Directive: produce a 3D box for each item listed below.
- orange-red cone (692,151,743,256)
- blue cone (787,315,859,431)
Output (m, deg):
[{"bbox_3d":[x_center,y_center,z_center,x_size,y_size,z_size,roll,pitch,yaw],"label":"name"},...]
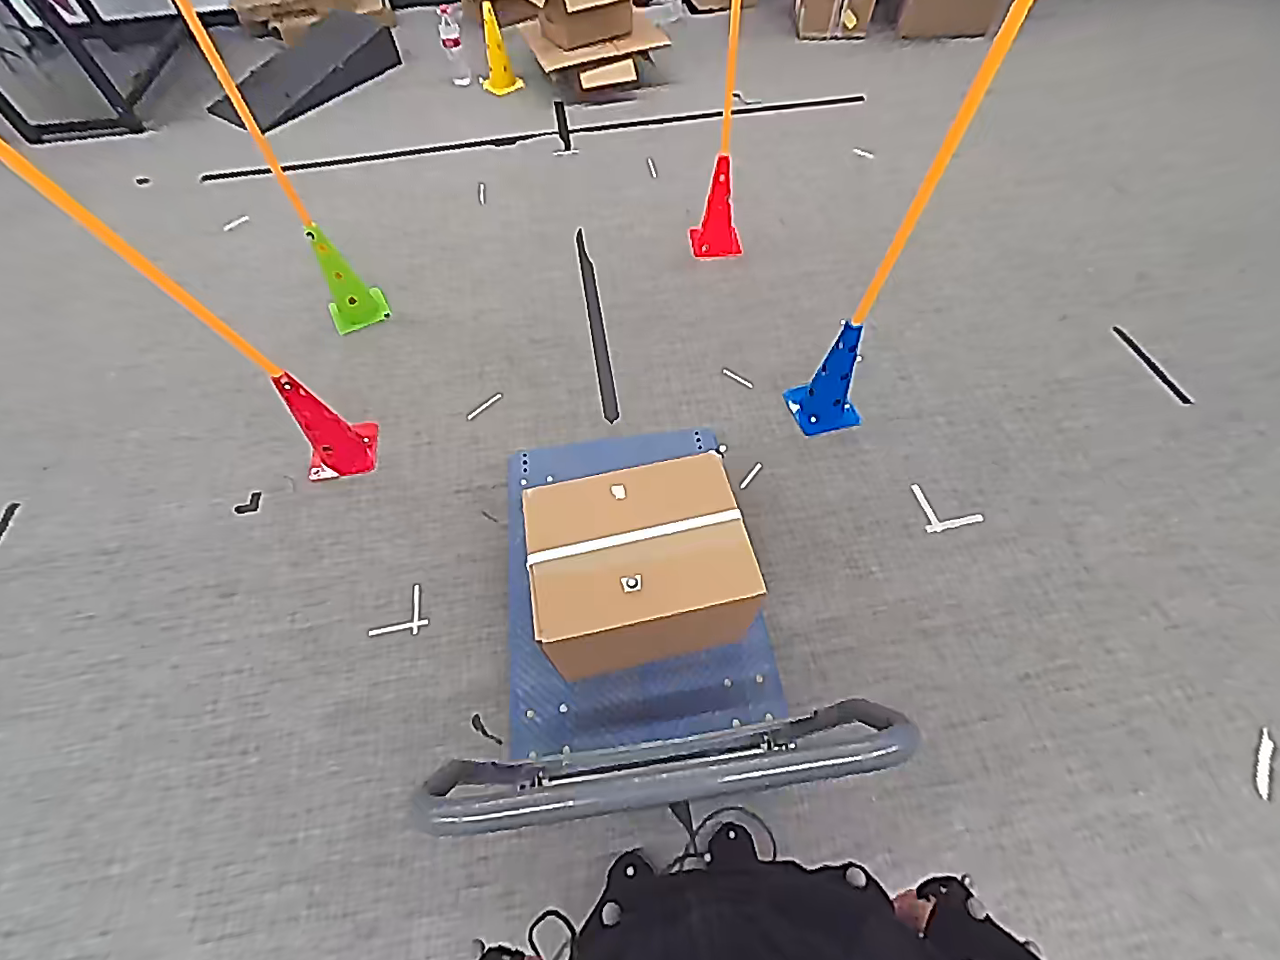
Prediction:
[{"bbox_3d":[0.315,-1.076,2.081,0.199,0.360,0.198,-3,59,-1],"label":"orange-red cone"},{"bbox_3d":[0.593,-0.333,1.633,0.193,0.380,0.192,-12,58,-6],"label":"blue cone"}]
